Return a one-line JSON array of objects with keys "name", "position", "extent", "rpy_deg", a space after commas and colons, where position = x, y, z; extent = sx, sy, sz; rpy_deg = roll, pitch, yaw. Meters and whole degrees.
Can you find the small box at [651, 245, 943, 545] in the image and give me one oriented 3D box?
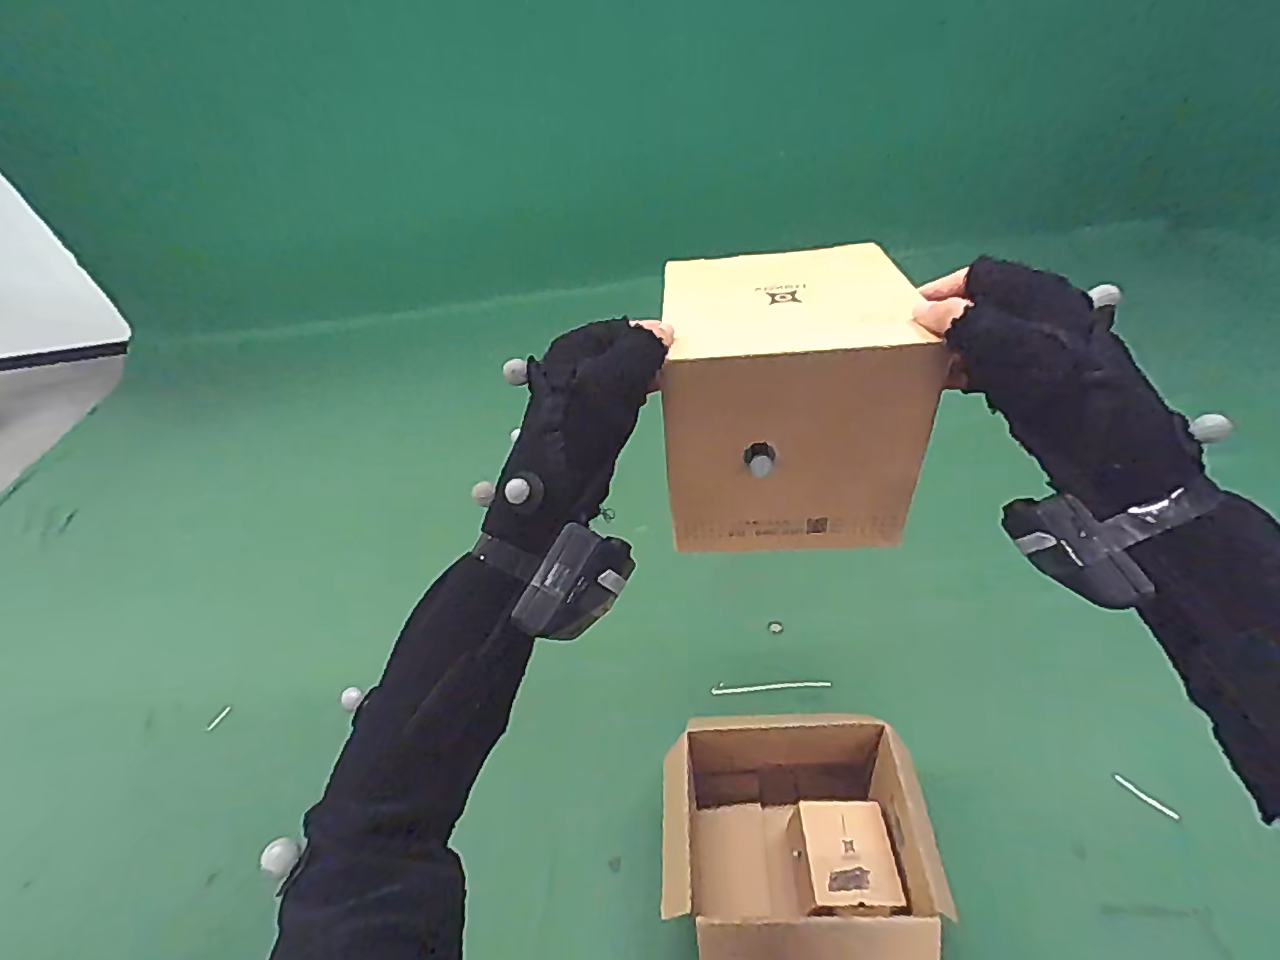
[{"name": "small box", "position": [0.102, -0.062, 0.418], "extent": [0.168, 0.176, 0.179], "rpy_deg": [-3, 39, 7]}]
